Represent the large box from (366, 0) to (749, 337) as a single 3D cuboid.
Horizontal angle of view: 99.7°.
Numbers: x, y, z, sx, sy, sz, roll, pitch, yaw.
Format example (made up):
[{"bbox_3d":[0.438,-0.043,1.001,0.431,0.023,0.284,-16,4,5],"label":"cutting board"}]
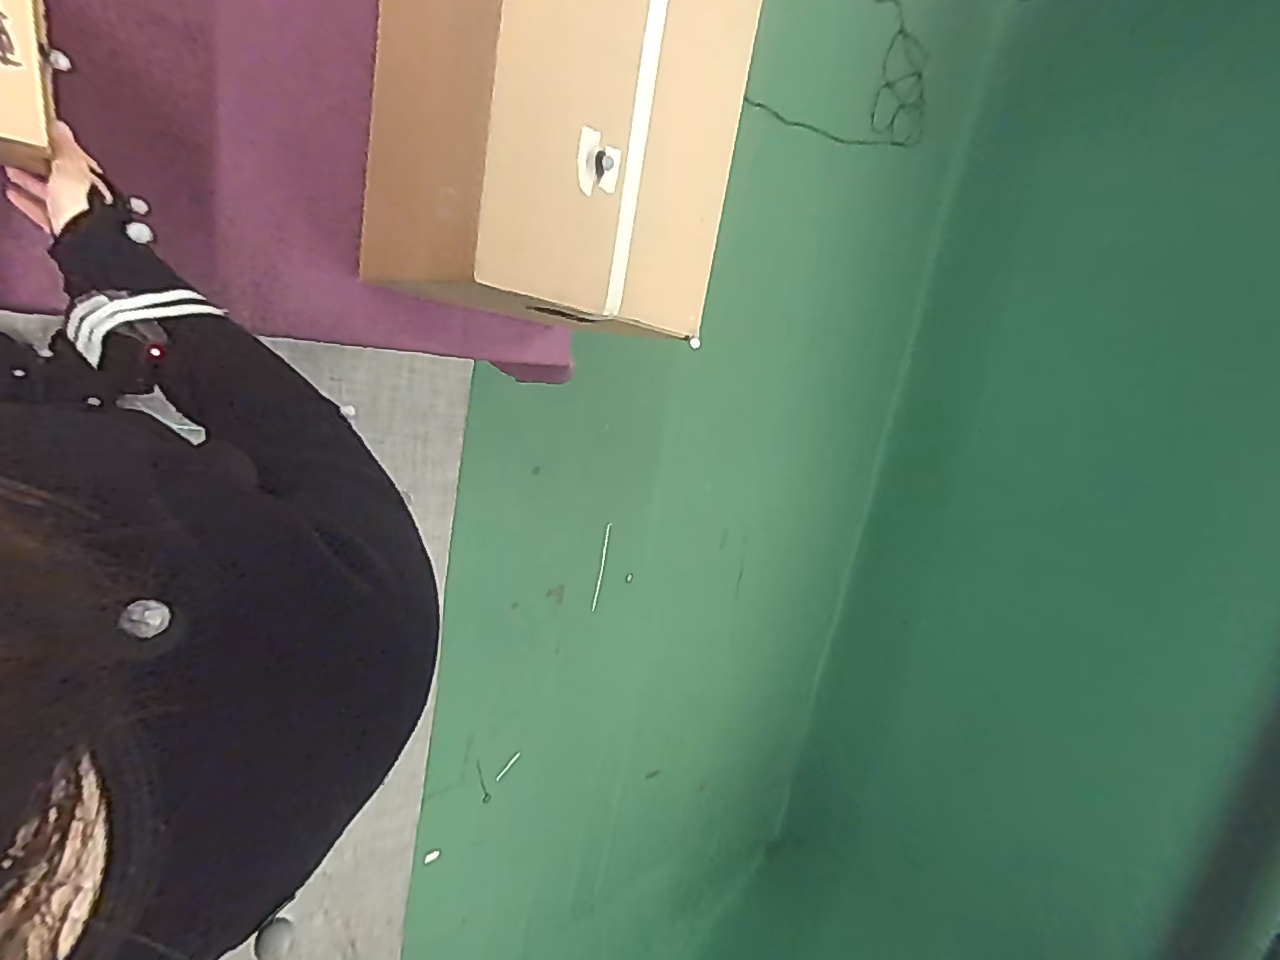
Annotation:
[{"bbox_3d":[-0.112,-0.414,0.661,0.320,0.320,0.408,-1,106,-45],"label":"large box"}]
